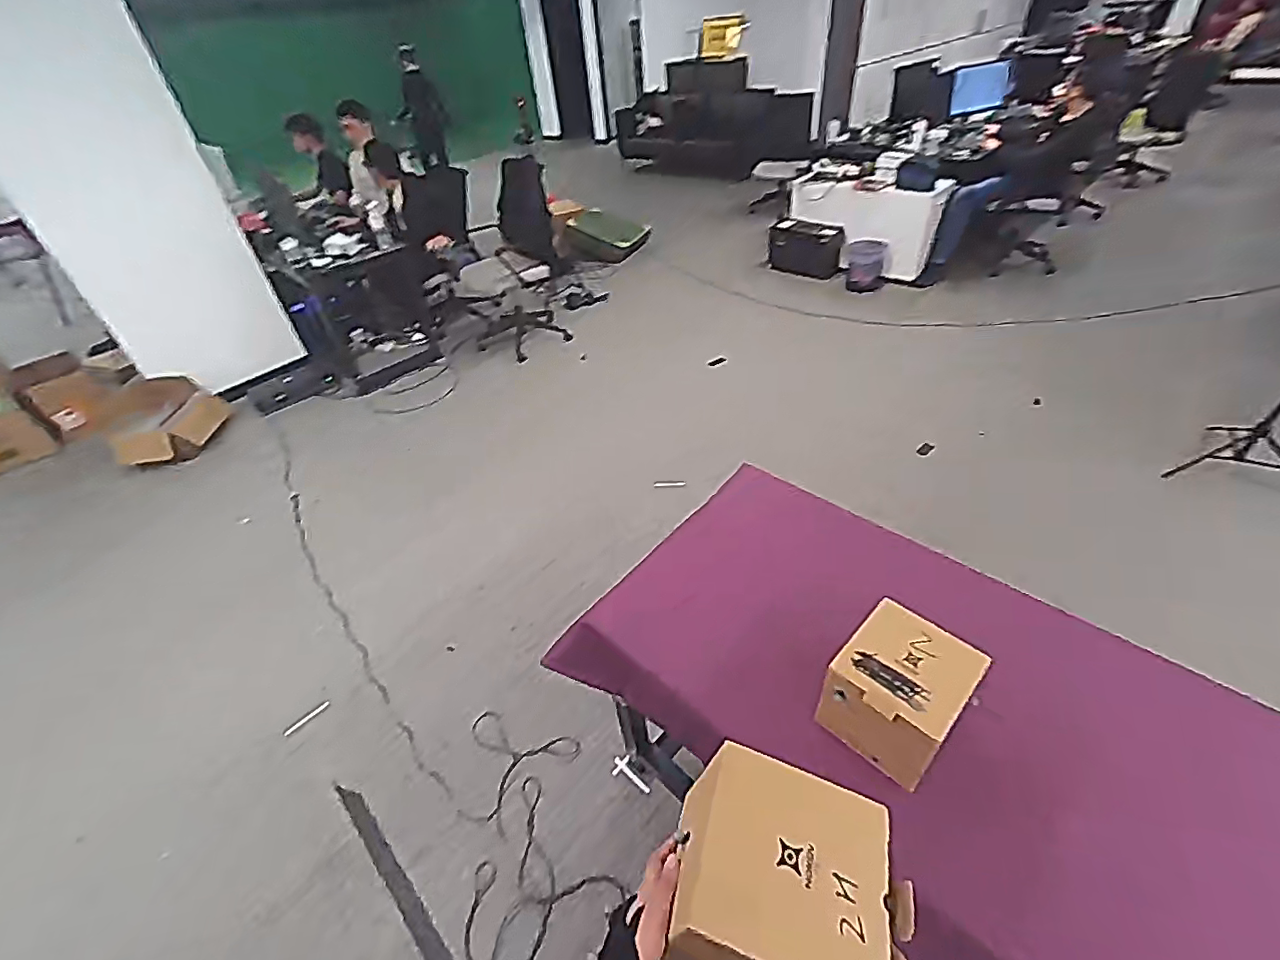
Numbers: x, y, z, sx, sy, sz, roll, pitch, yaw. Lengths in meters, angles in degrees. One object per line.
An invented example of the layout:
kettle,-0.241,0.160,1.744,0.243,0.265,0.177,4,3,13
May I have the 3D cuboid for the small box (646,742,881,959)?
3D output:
small box,0.120,0.410,0.549,0.179,0.176,0.168,22,42,6
